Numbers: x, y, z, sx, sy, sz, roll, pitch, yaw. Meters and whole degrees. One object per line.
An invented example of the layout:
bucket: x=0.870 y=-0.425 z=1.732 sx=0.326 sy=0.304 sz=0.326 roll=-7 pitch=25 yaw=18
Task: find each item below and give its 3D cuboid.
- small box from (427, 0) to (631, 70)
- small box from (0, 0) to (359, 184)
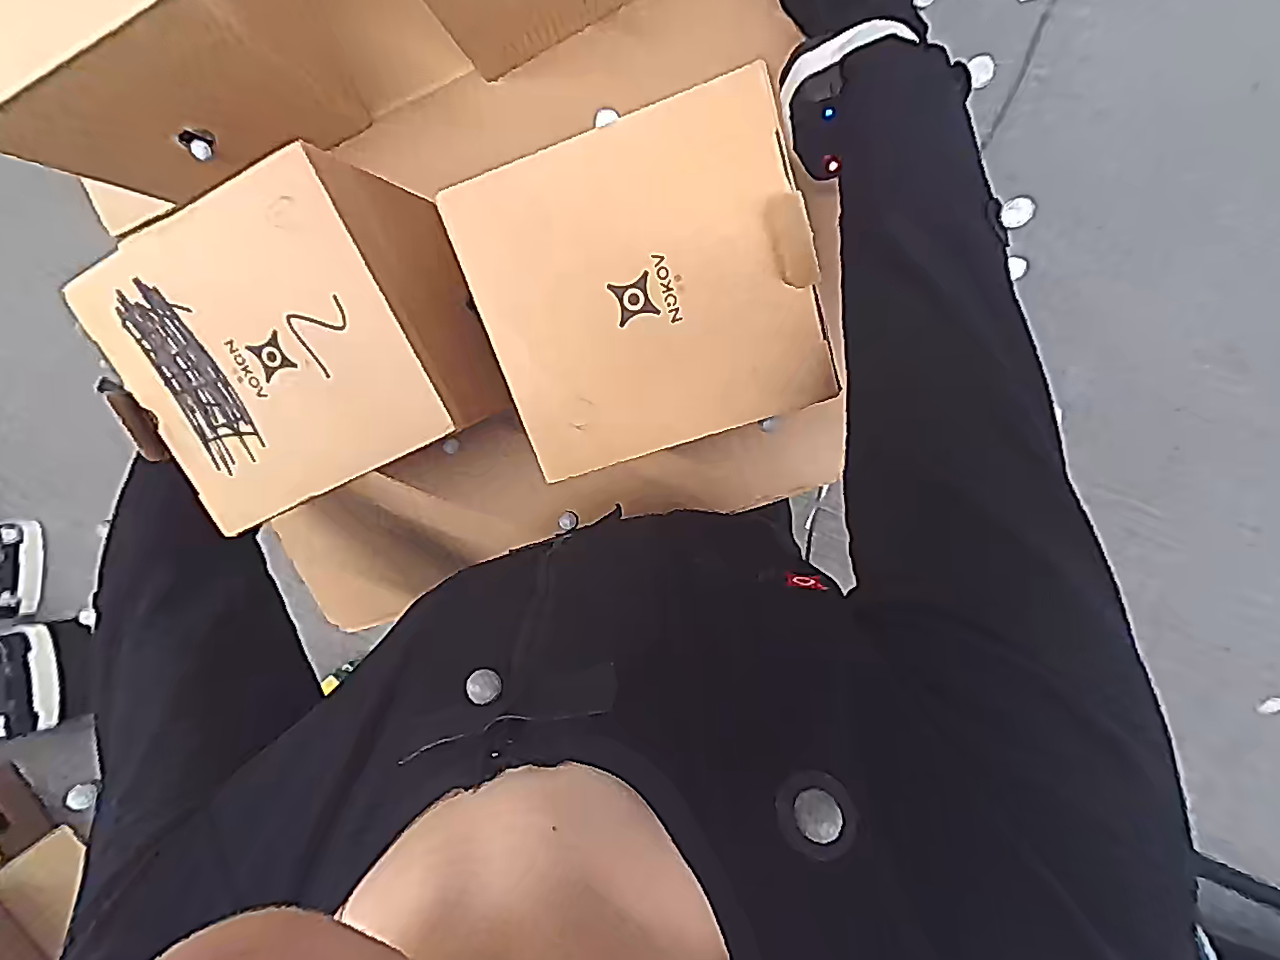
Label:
small box: x=-0.074 y=-0.386 z=0.301 sx=0.179 sy=0.176 sz=0.168 roll=-20 pitch=100 yaw=11
small box: x=-0.322 y=-0.317 z=0.343 sx=0.168 sy=0.176 sz=0.179 roll=-19 pitch=100 yaw=9
